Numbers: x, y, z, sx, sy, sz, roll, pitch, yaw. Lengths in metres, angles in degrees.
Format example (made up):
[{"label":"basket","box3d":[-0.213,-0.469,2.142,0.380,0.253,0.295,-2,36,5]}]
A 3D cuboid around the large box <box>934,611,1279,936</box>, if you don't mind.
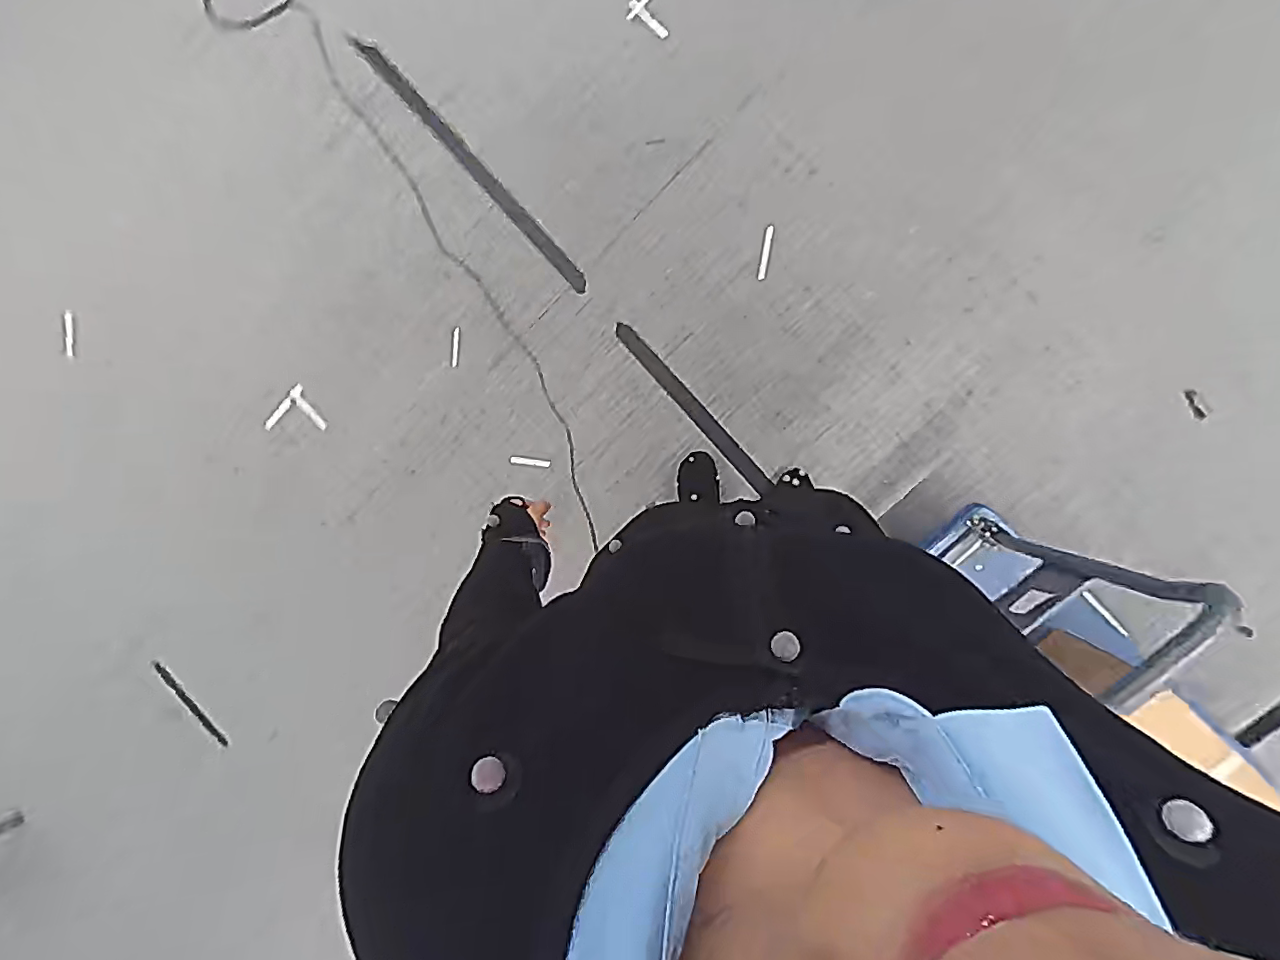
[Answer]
[{"label":"large box","box3d":[0.891,0.537,1.069,0.320,0.320,0.408,43,96,3]}]
